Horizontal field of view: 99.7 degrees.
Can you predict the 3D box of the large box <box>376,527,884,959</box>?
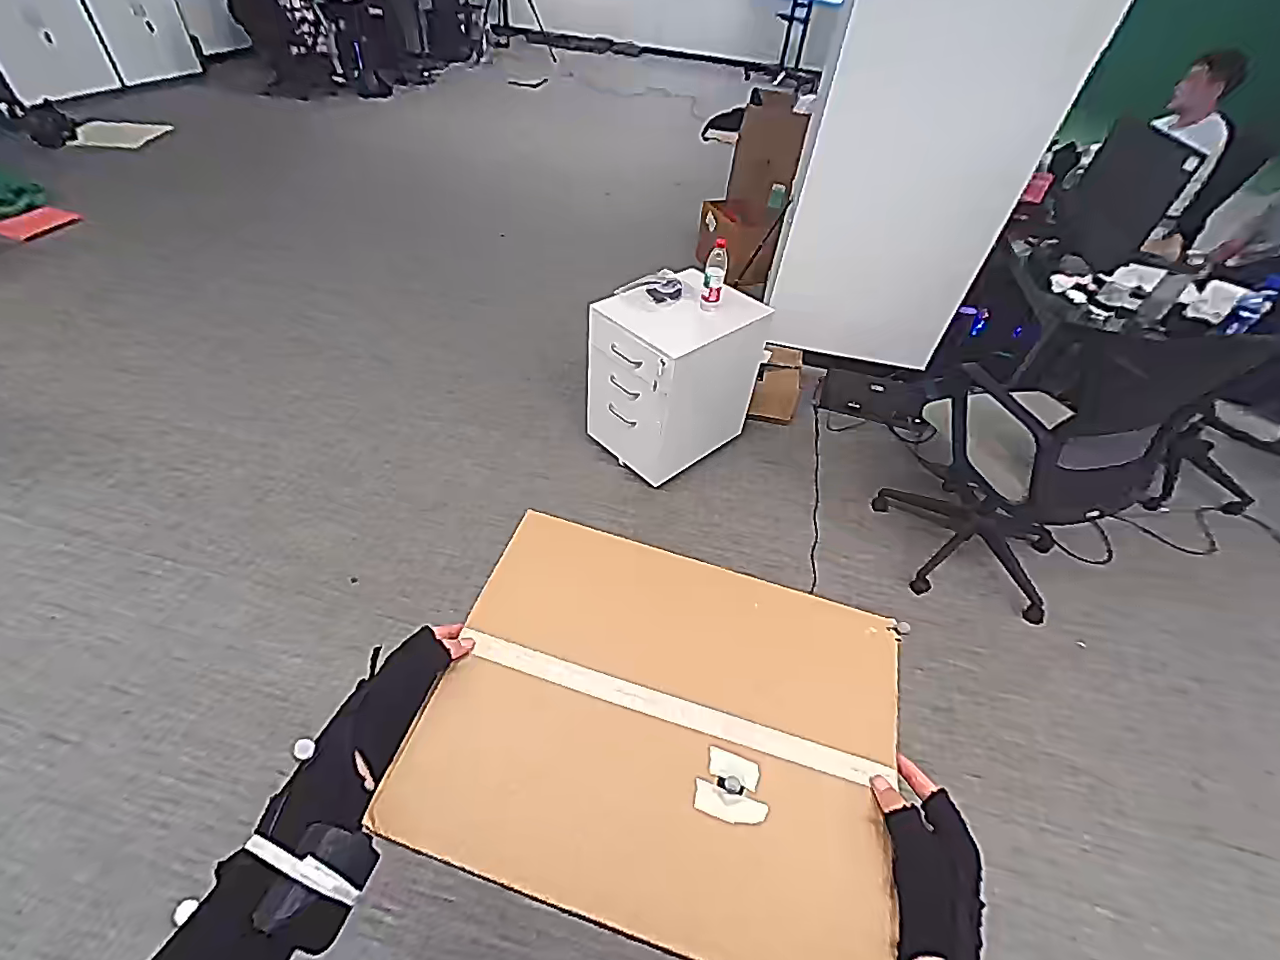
[{"bbox_3d":[0.006,0.307,0.607,0.408,0.320,0.320,17,52,6],"label":"large box"}]
